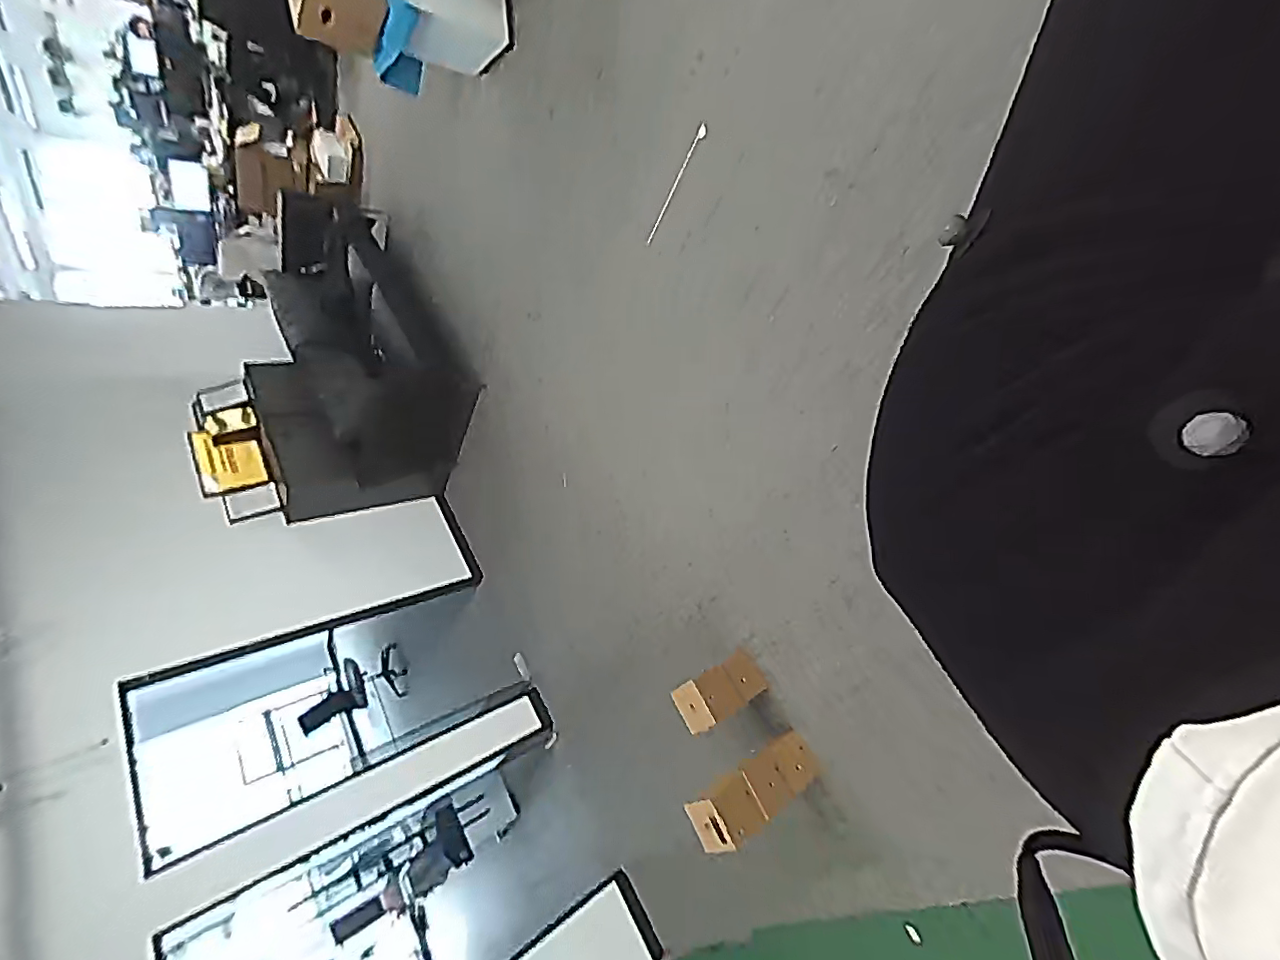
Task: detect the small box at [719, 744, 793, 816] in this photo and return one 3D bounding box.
[{"bbox_3d":[0.432,1.094,1.980,0.179,0.176,0.168,-49,62,44],"label":"small box"}]

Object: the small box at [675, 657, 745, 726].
[{"bbox_3d":[0.274,0.817,2.096,0.179,0.176,0.168,60,137,21],"label":"small box"}]

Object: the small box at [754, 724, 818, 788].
[{"bbox_3d":[0.559,1.071,2.084,0.168,0.176,0.179,60,138,20],"label":"small box"}]

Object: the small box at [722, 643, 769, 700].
[{"bbox_3d":[0.393,0.797,2.207,0.179,0.176,0.168,58,136,21],"label":"small box"}]
